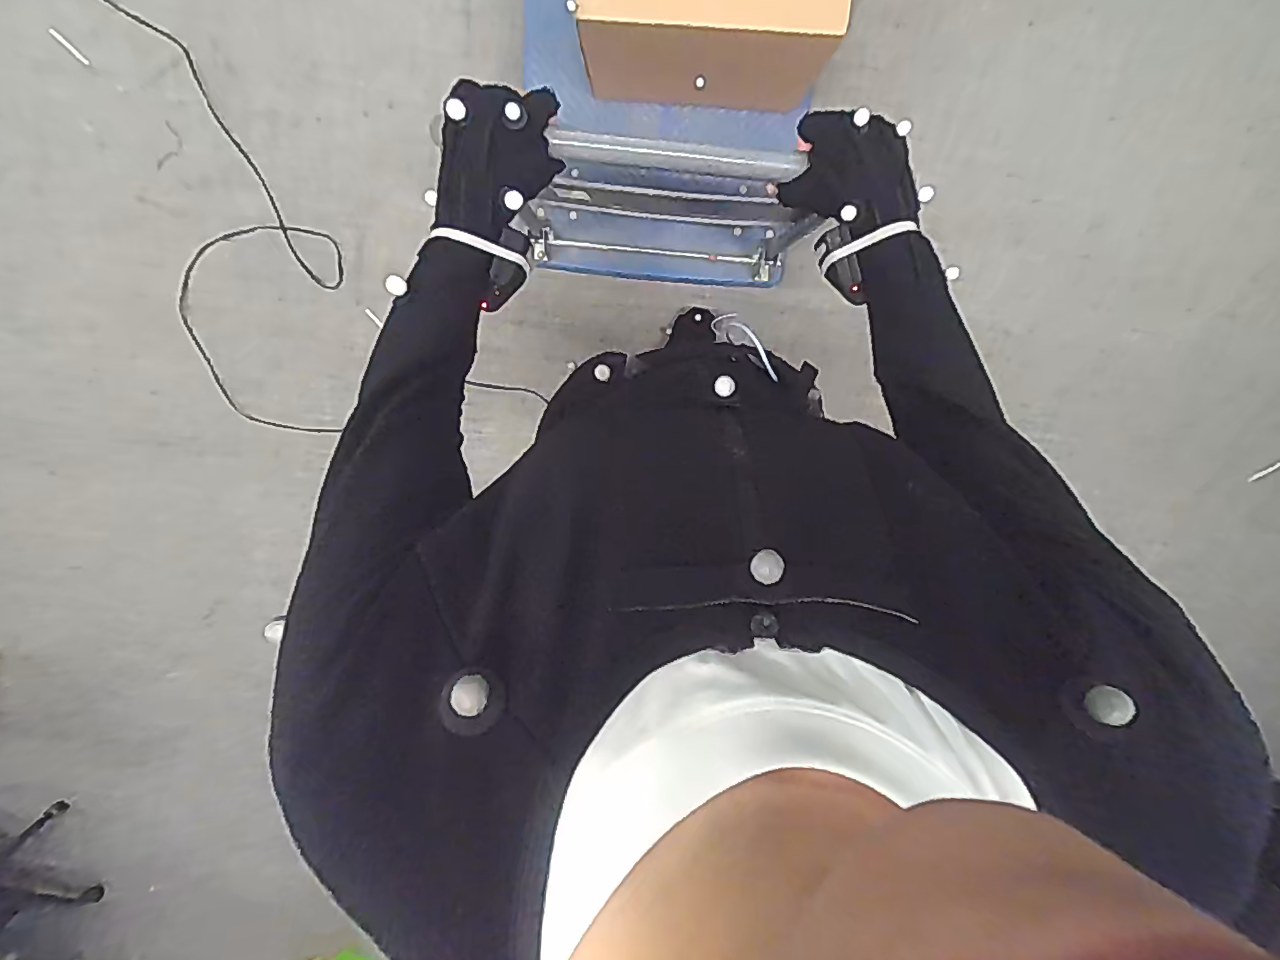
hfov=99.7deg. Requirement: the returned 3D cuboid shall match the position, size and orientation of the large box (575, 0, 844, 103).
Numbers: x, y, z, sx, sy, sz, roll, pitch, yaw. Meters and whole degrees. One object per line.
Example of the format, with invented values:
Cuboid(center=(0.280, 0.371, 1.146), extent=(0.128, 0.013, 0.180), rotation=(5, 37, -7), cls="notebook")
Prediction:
Cuboid(center=(0.113, -0.868, 0.907), extent=(0.408, 0.320, 0.320), rotation=(4, 106, 1), cls="large box")
